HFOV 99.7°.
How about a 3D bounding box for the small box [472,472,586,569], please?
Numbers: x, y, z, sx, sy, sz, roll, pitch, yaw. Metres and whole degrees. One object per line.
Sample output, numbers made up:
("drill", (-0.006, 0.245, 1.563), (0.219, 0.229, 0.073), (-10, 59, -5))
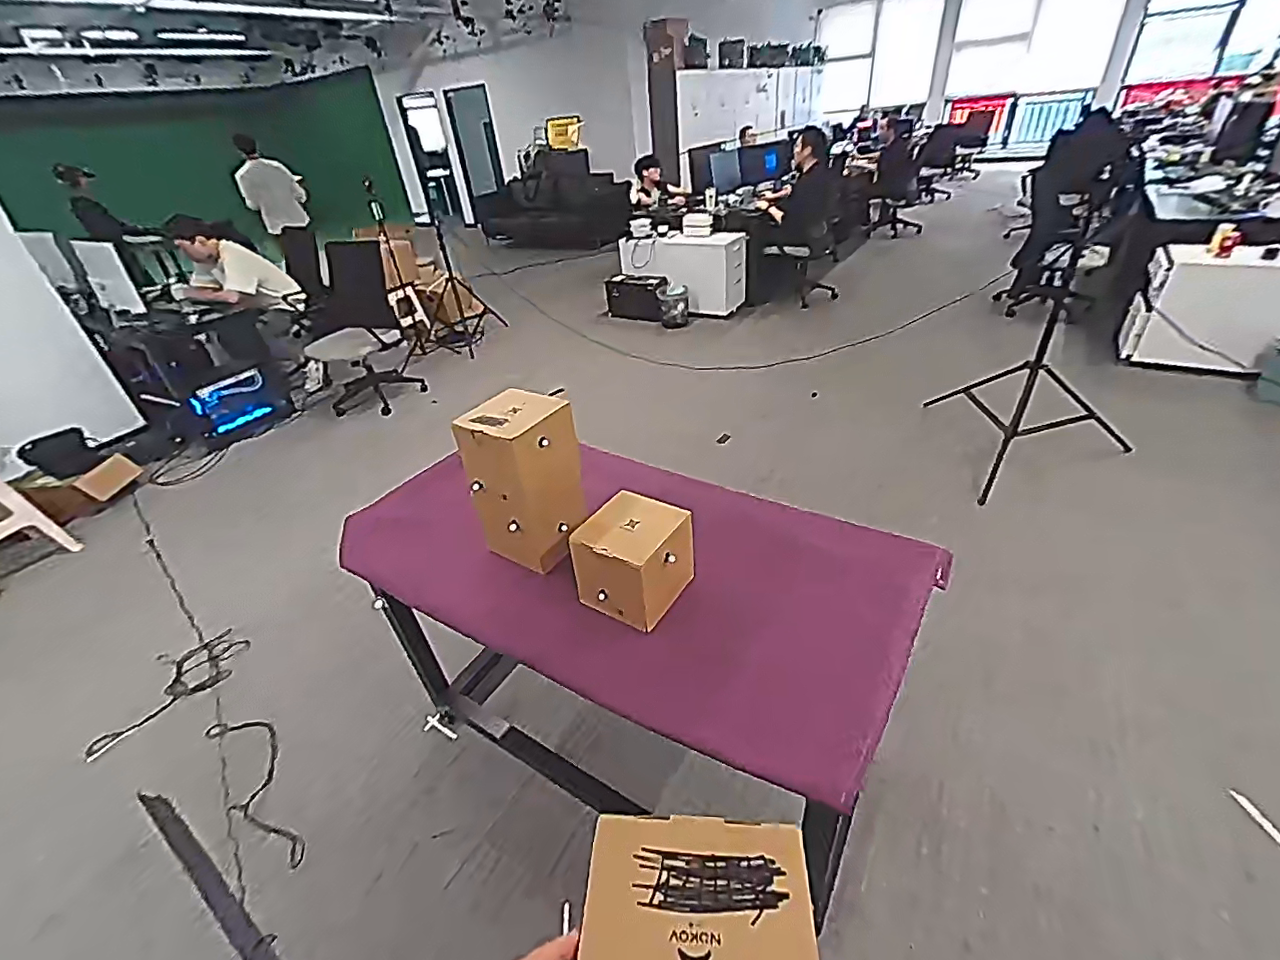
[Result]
("small box", (-0.236, 0.072, 1.200), (0.179, 0.176, 0.168), (17, 40, 30))

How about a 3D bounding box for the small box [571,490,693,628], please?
("small box", (-0.009, 0.150, 1.051), (0.168, 0.176, 0.179), (17, 40, 30))

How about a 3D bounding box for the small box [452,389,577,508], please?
("small box", (-0.247, -0.066, 1.112), (0.168, 0.176, 0.179), (16, 40, 29))
